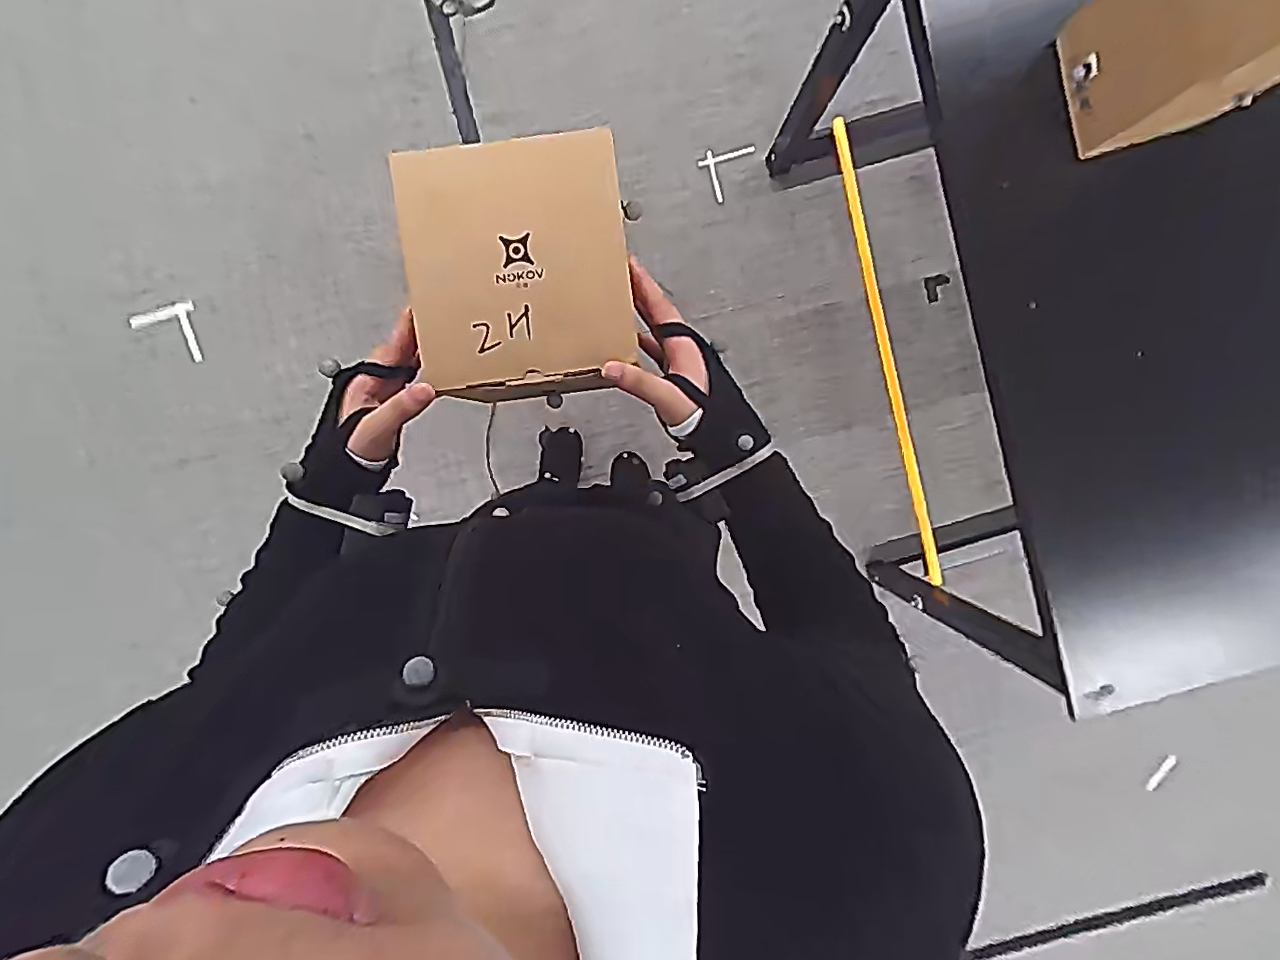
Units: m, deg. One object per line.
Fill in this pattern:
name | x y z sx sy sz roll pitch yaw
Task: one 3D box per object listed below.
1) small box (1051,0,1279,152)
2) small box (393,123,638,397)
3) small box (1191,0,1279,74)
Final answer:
small box | 0.654 -0.539 0.650 0.179 0.176 0.168 -17 94 1
small box | -0.093 -0.174 0.481 0.168 0.176 0.179 -7 95 0
small box | 0.650 -0.526 0.486 0.168 0.176 0.179 -19 95 0
